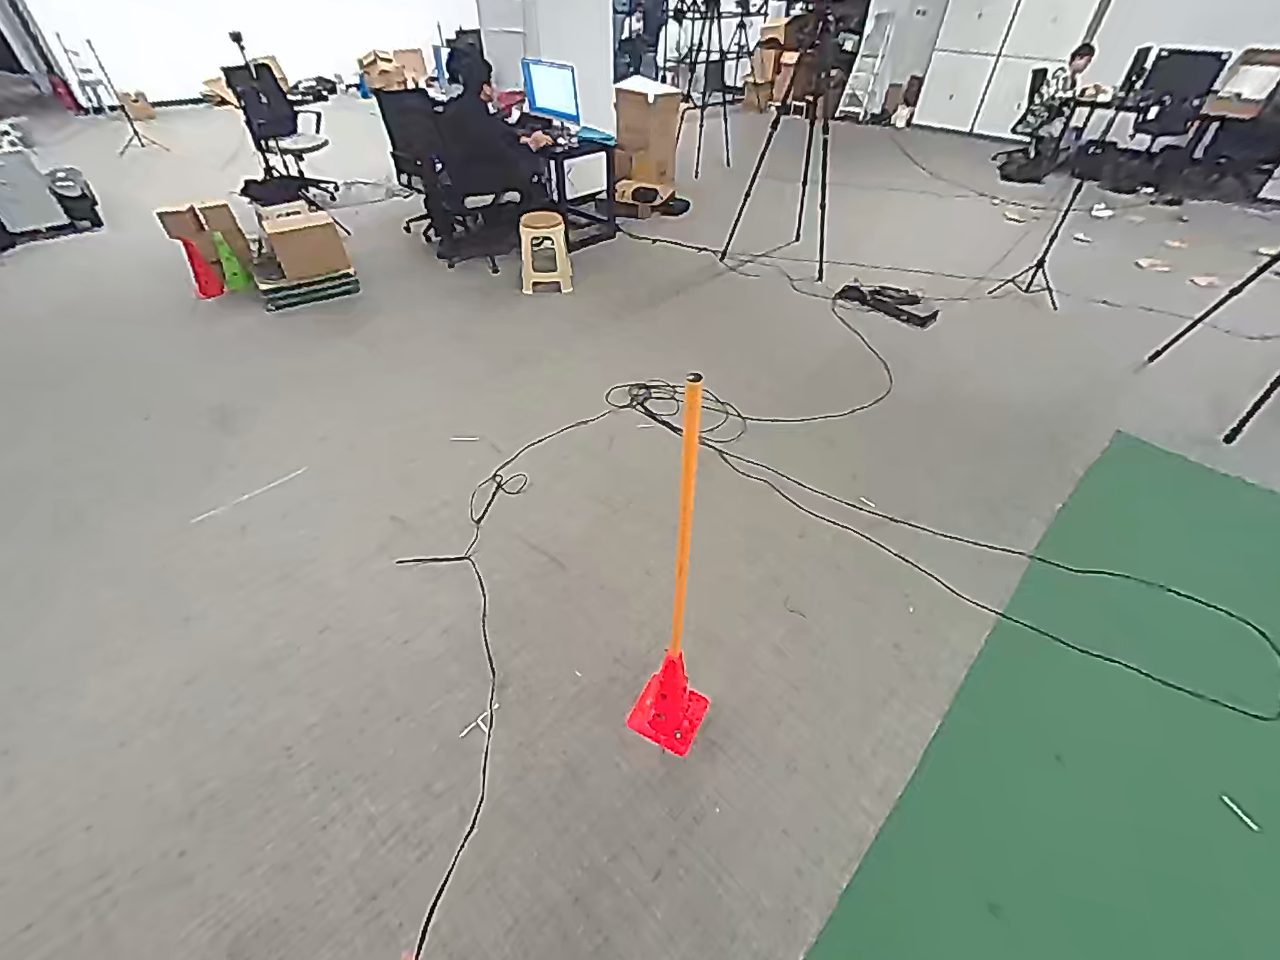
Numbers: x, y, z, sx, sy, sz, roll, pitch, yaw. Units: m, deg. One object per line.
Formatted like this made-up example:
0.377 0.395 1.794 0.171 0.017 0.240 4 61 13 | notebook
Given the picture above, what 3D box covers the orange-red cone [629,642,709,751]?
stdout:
0.093 0.569 1.530 0.198 0.360 0.199 22 46 21 | orange-red cone
